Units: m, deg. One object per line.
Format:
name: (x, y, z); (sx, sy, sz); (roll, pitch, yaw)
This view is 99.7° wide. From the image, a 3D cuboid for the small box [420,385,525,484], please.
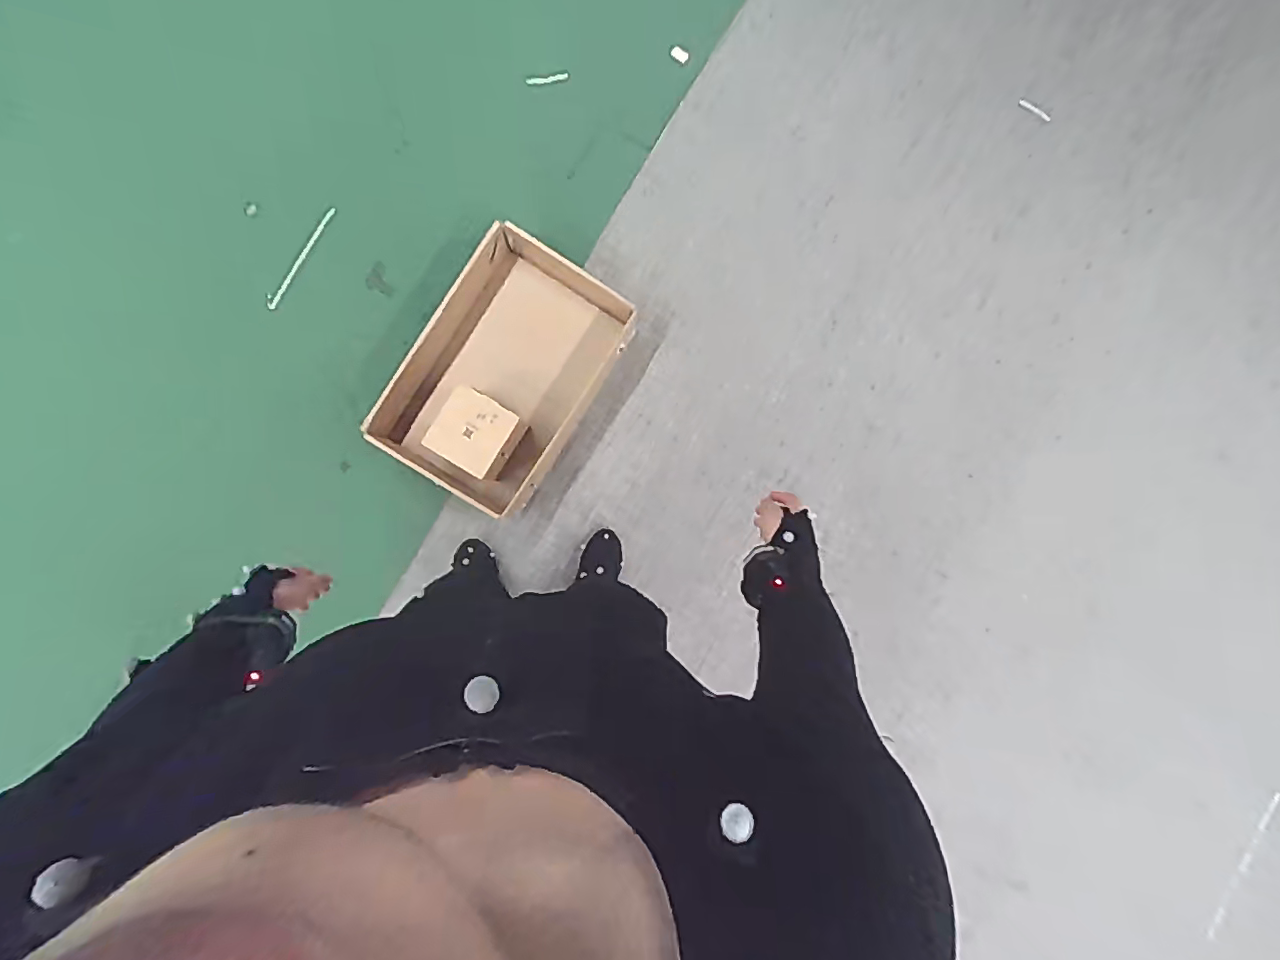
small box: (-0.395, -0.103, 1.315); (0.168, 0.176, 0.179); (32, 86, -4)
